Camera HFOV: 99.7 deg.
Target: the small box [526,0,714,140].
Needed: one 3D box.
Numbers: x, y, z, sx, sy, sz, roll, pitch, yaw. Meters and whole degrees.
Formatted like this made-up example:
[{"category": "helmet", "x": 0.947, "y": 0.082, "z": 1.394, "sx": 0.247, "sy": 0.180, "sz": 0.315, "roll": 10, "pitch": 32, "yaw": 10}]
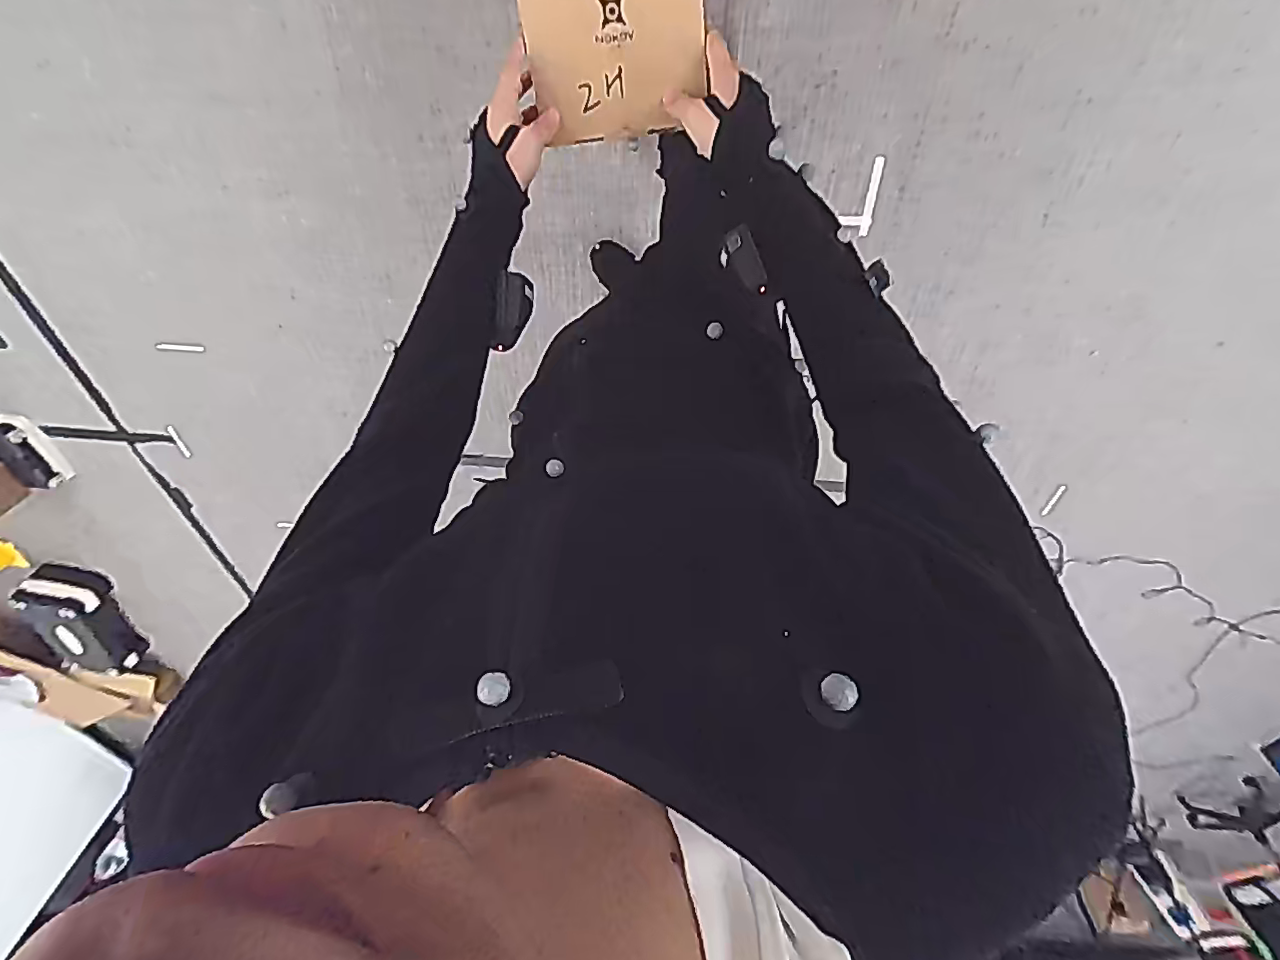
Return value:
[{"category": "small box", "x": -0.015, "y": -0.459, "z": 0.548, "sx": 0.168, "sy": 0.176, "sz": 0.179, "roll": -4, "pitch": 124, "yaw": 7}]
